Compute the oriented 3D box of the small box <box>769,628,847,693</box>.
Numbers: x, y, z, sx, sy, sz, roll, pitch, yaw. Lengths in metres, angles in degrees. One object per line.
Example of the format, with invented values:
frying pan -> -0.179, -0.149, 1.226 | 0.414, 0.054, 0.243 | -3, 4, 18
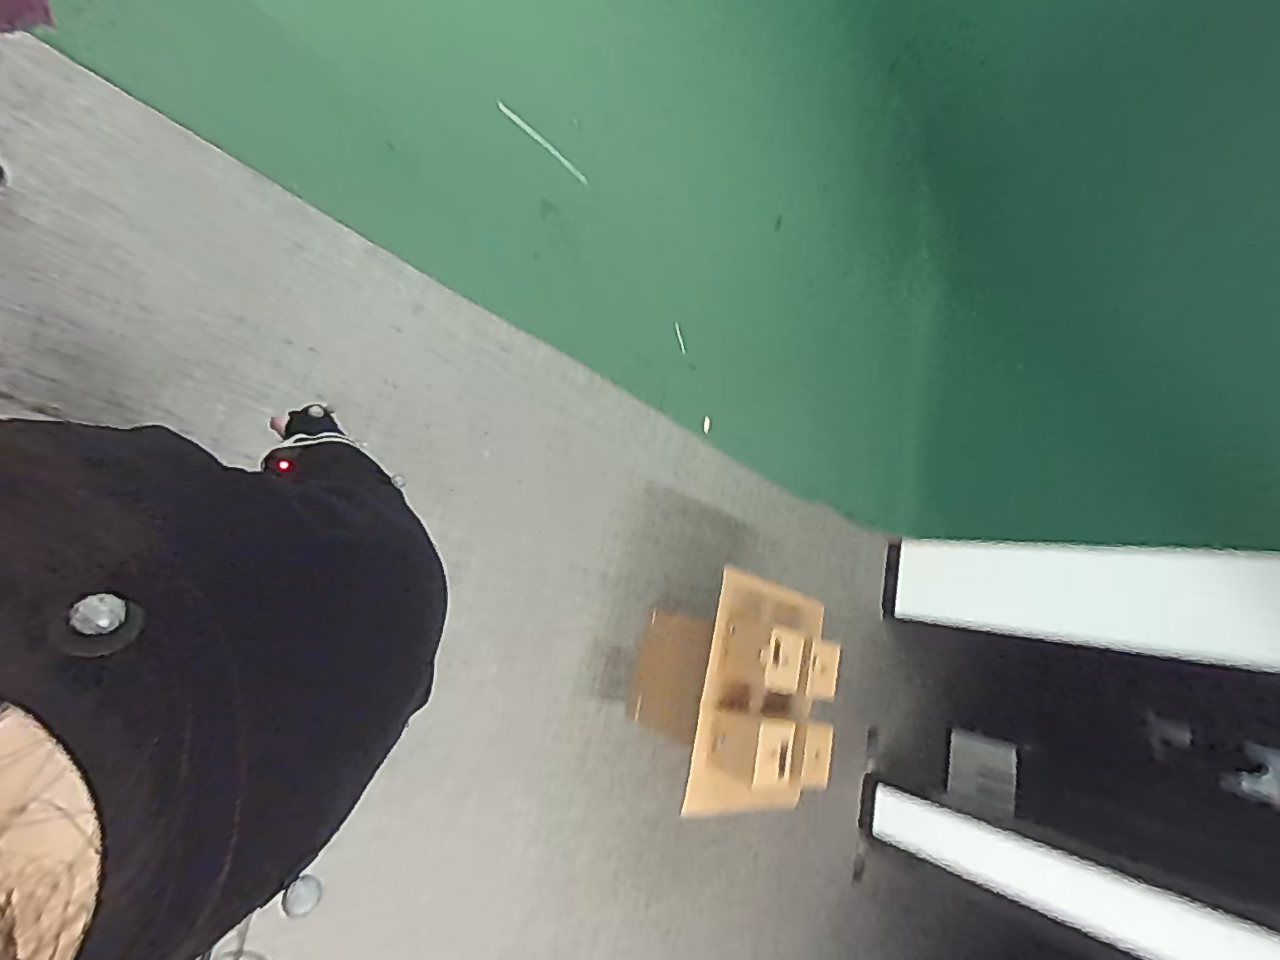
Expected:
small box -> 0.542, 0.579, 1.744 | 0.179, 0.176, 0.168 | 23, 72, -39
